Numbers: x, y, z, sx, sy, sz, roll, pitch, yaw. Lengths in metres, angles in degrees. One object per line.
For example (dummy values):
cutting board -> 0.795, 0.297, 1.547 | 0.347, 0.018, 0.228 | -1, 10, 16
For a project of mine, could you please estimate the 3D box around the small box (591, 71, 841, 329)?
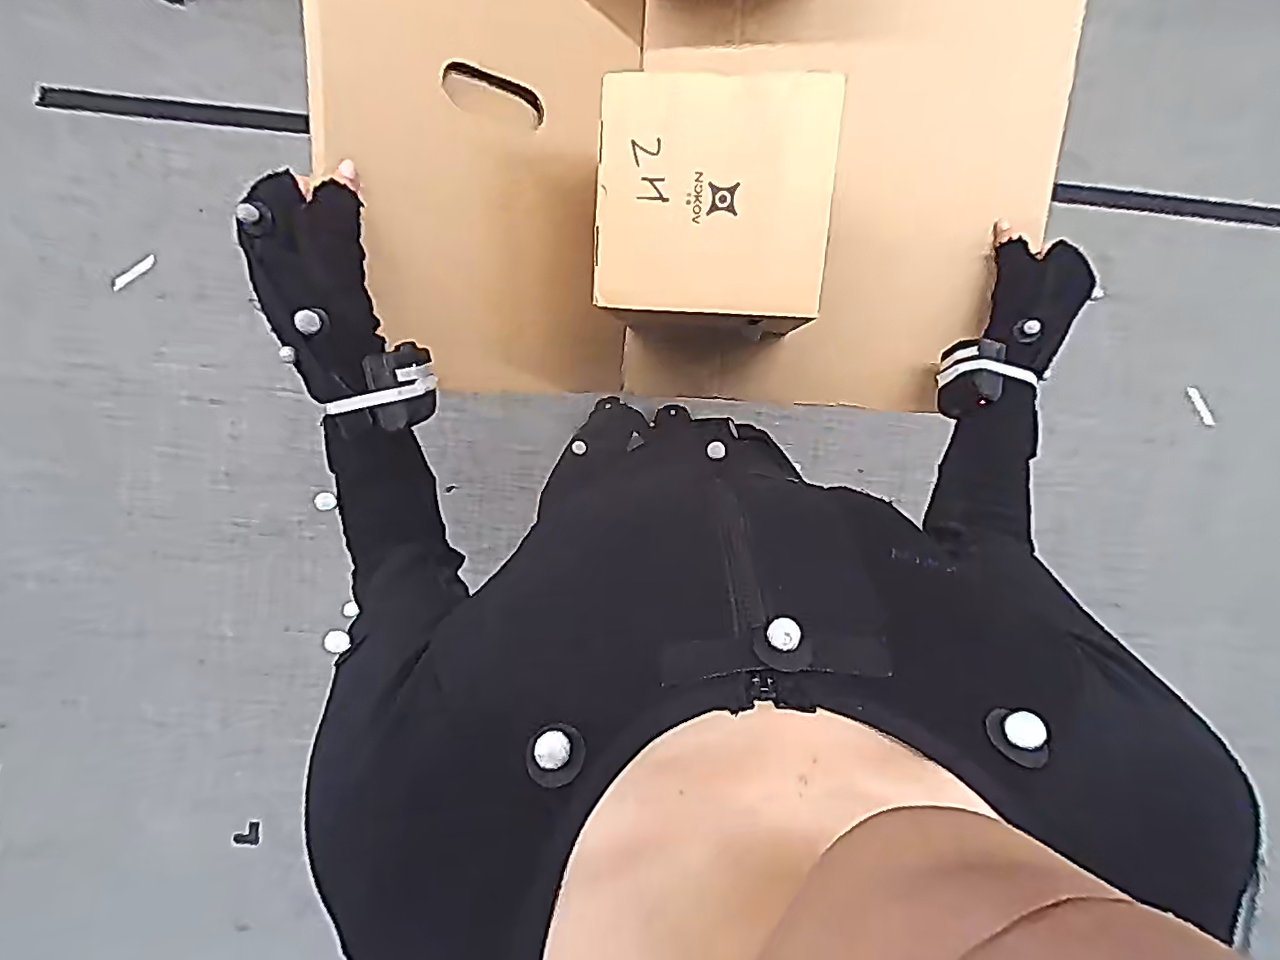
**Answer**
small box -> 0.062, -0.231, 0.488 | 0.179, 0.176, 0.168 | 6, 102, 7
